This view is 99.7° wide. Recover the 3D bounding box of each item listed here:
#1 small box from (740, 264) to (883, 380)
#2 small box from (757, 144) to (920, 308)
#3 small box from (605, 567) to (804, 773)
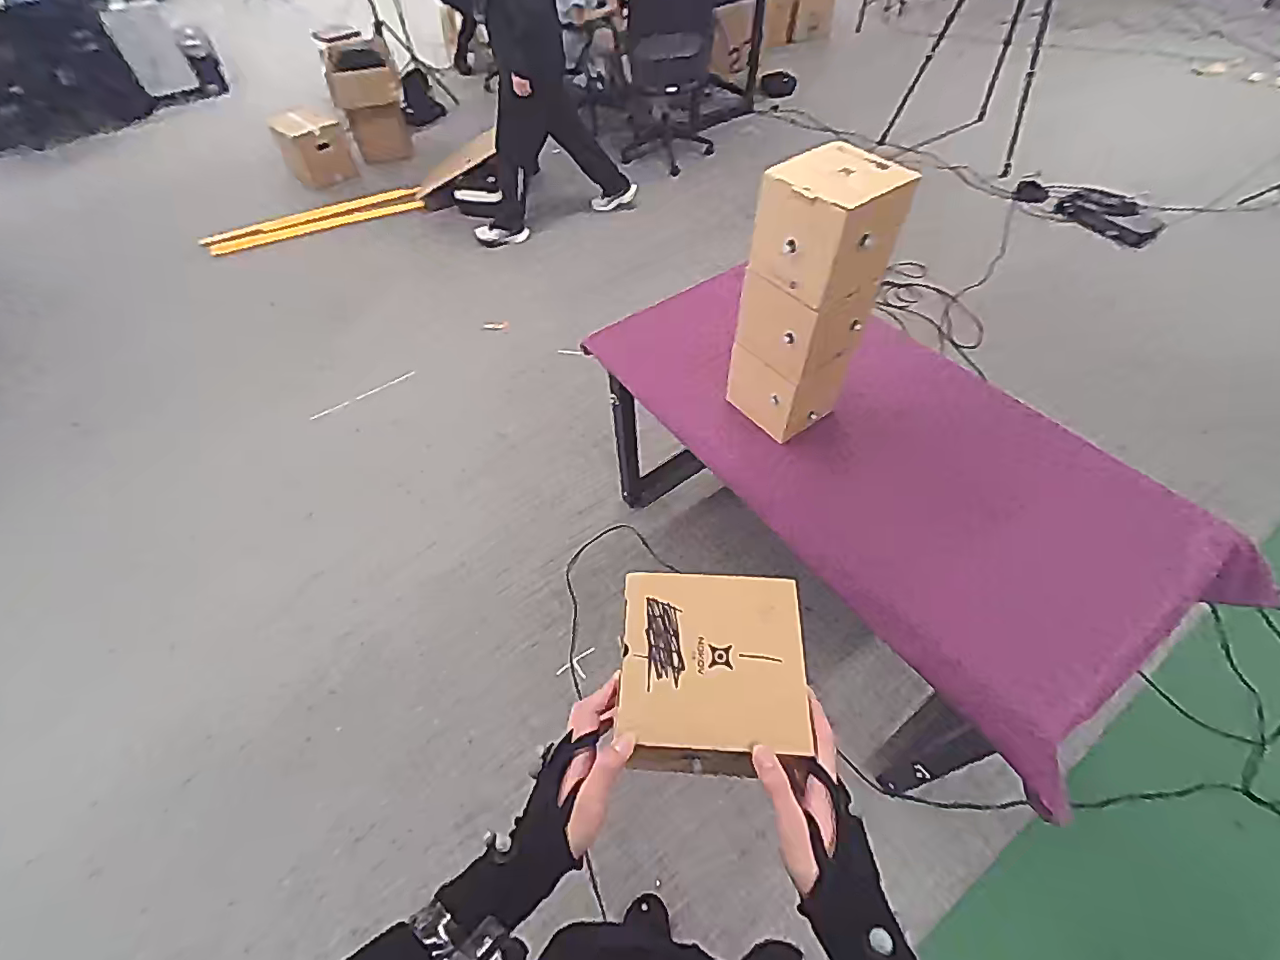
[{"bbox_3d":[0.310,-0.311,1.015,0.168,0.176,0.179,-31,58,-20],"label":"small box"},{"bbox_3d":[0.310,-0.413,0.887,0.179,0.176,0.168,-32,59,-20],"label":"small box"},{"bbox_3d":[0.064,0.207,0.579,0.179,0.176,0.168,2,54,3],"label":"small box"}]
